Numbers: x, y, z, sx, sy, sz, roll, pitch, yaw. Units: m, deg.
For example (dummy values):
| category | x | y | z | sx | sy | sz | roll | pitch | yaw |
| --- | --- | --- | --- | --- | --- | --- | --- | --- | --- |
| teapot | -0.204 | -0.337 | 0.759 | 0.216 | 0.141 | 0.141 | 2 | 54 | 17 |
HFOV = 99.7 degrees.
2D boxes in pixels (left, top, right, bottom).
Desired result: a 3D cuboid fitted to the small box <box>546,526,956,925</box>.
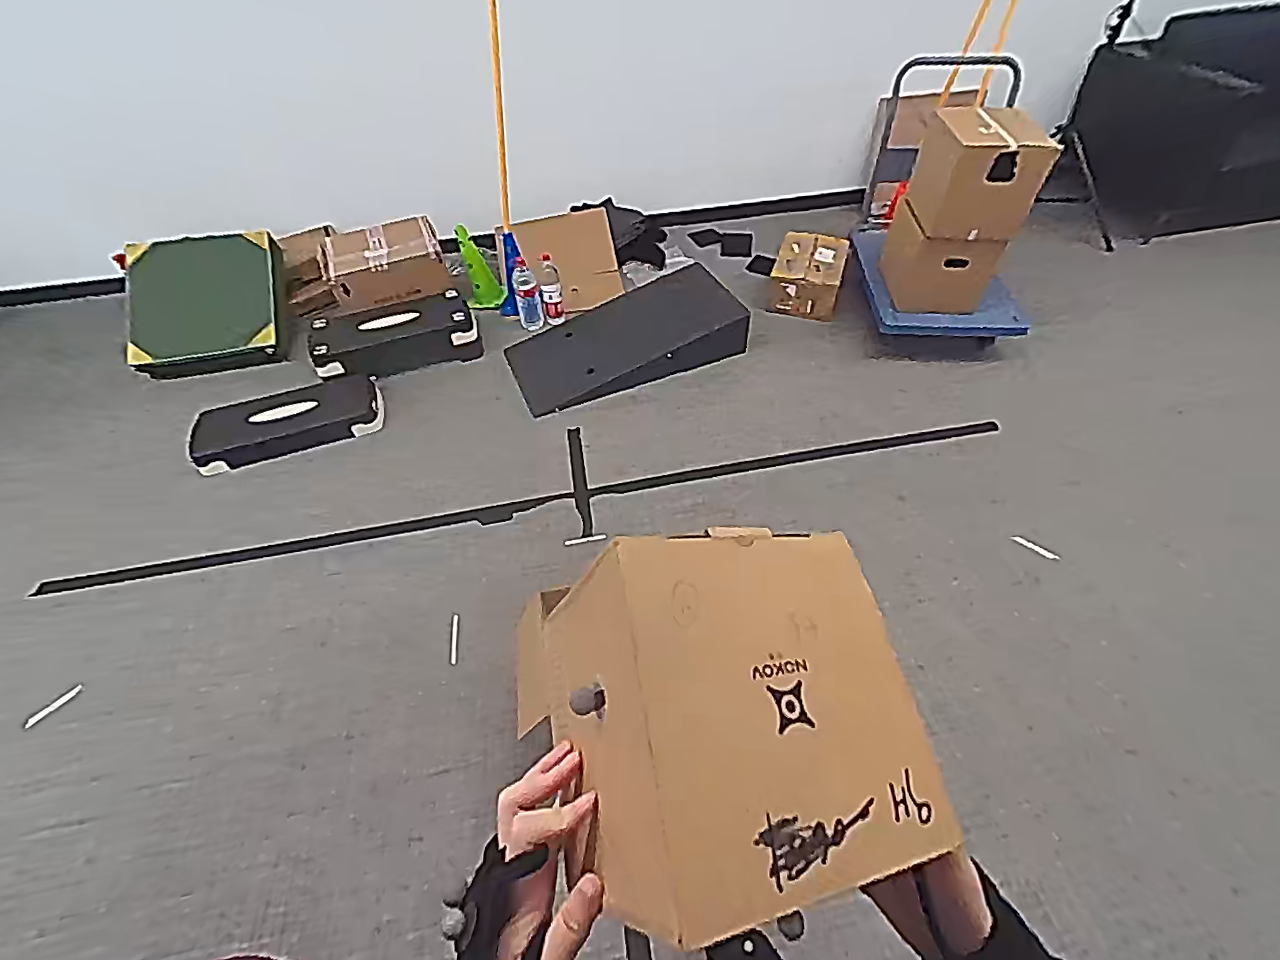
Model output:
| category | x | y | z | sx | sy | sz | roll | pitch | yaw |
| --- | --- | --- | --- | --- | --- | --- | --- | --- | --- |
| small box | 0.044 | 0.143 | 0.346 | 0.168 | 0.176 | 0.179 | 1 | 60 | -25 |
